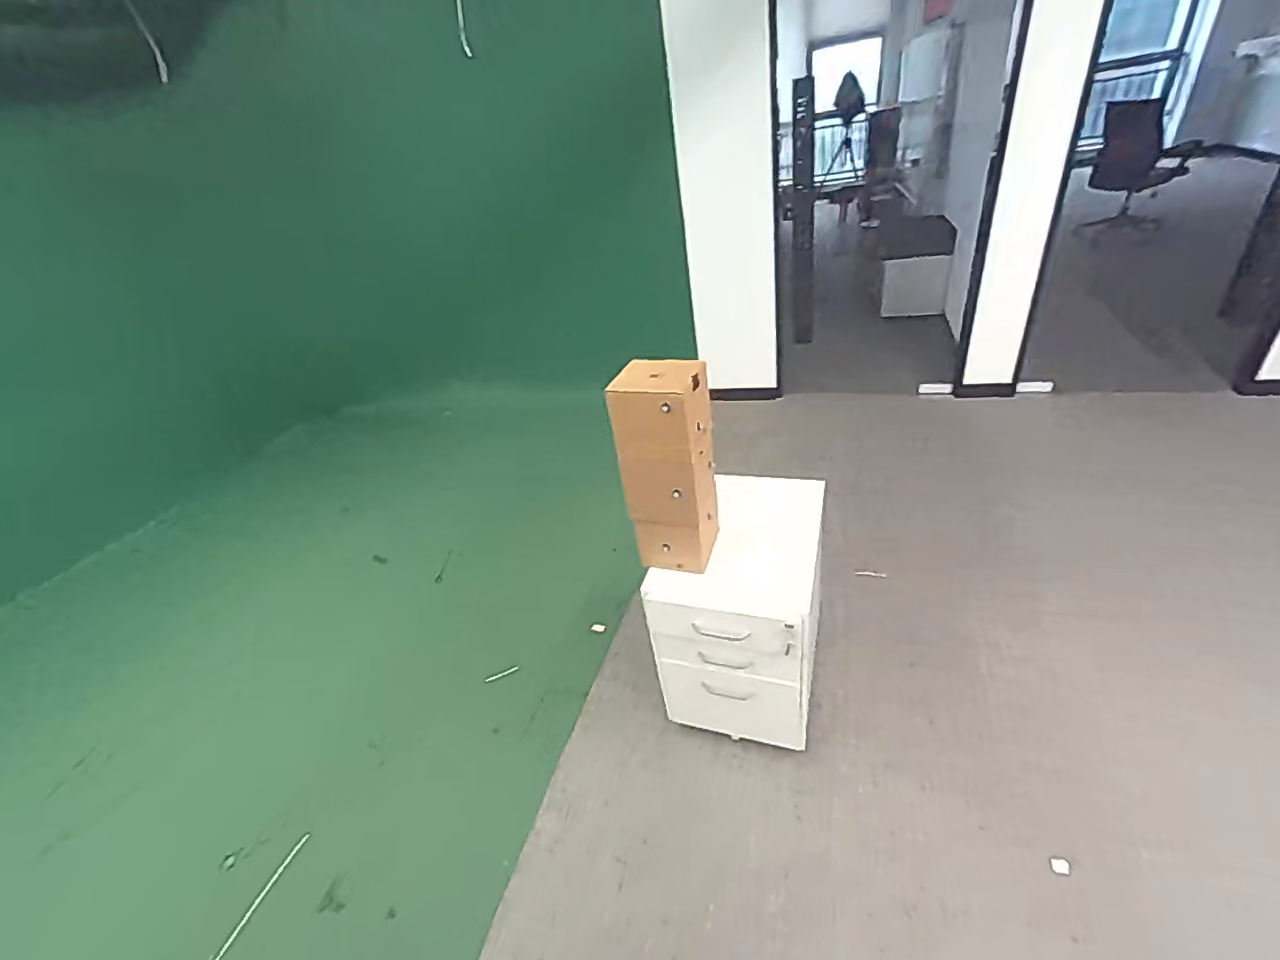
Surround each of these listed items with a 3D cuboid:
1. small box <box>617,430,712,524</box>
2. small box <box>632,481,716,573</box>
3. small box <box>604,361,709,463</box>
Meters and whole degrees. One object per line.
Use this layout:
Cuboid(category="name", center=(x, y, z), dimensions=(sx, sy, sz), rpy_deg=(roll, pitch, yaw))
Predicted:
Cuboid(category="small box", center=(0.067, -0.012, 1.263), dimensions=(0.179, 0.176, 0.168), rpy_deg=(4, 35, 20))
Cuboid(category="small box", center=(0.094, 0.111, 1.365), dimensions=(0.168, 0.176, 0.179), rpy_deg=(6, 37, 20))
Cuboid(category="small box", center=(0.044, -0.150, 1.178), dimensions=(0.179, 0.176, 0.168), rpy_deg=(6, 36, 21))
